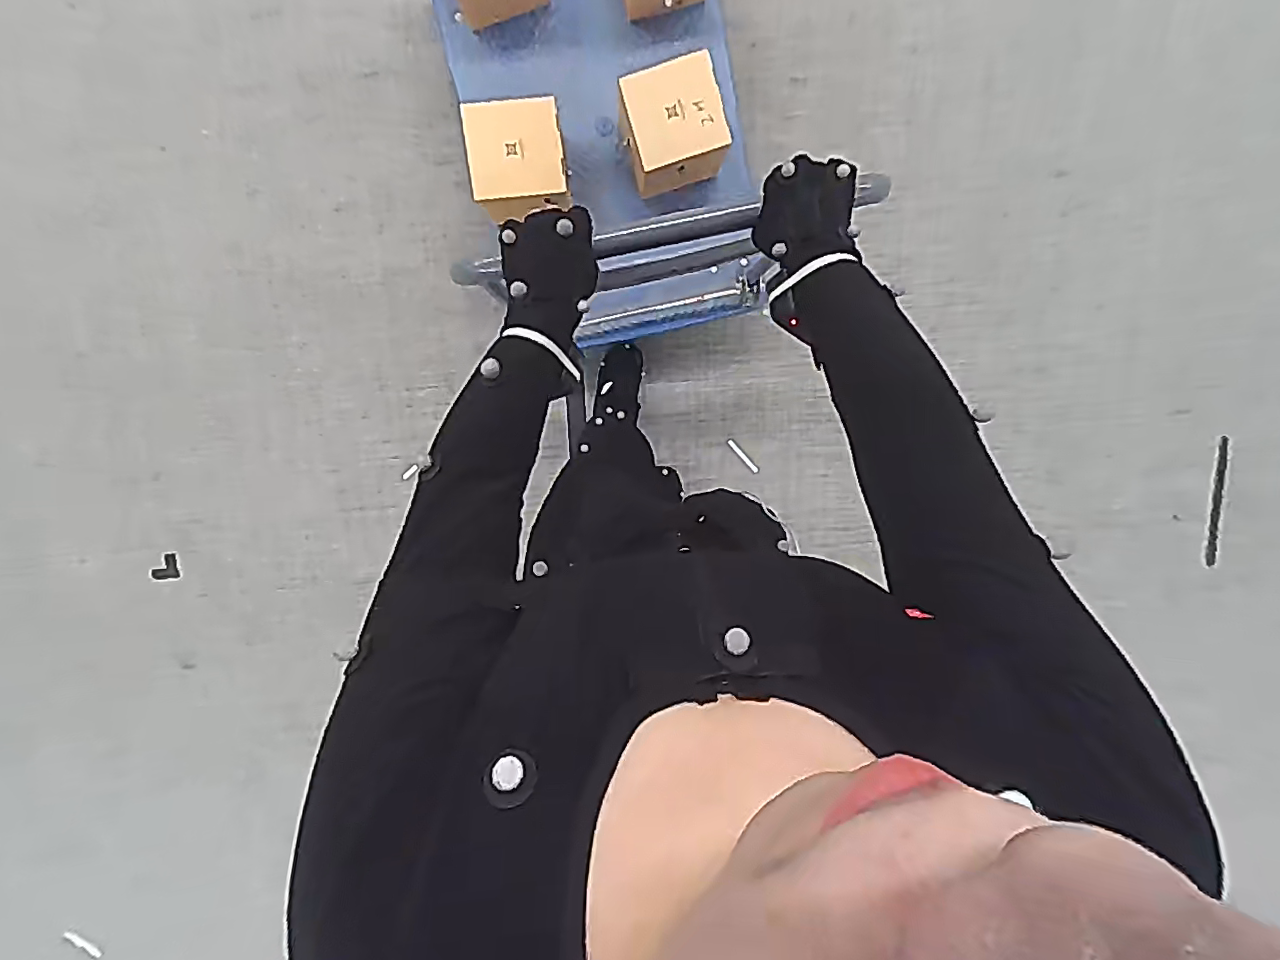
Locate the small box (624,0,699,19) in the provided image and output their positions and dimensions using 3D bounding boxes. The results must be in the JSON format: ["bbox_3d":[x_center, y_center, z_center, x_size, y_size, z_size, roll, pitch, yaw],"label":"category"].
[{"bbox_3d":[0.036,-1.032,1.016,0.168,0.176,0.179,-15,103,0],"label":"small box"}]

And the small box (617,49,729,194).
[{"bbox_3d":[0.062,-0.701,1.082,0.179,0.176,0.168,-18,102,1],"label":"small box"}]

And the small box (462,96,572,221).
[{"bbox_3d":[-0.237,-0.632,1.082,0.179,0.176,0.168,-7,102,-3],"label":"small box"}]
